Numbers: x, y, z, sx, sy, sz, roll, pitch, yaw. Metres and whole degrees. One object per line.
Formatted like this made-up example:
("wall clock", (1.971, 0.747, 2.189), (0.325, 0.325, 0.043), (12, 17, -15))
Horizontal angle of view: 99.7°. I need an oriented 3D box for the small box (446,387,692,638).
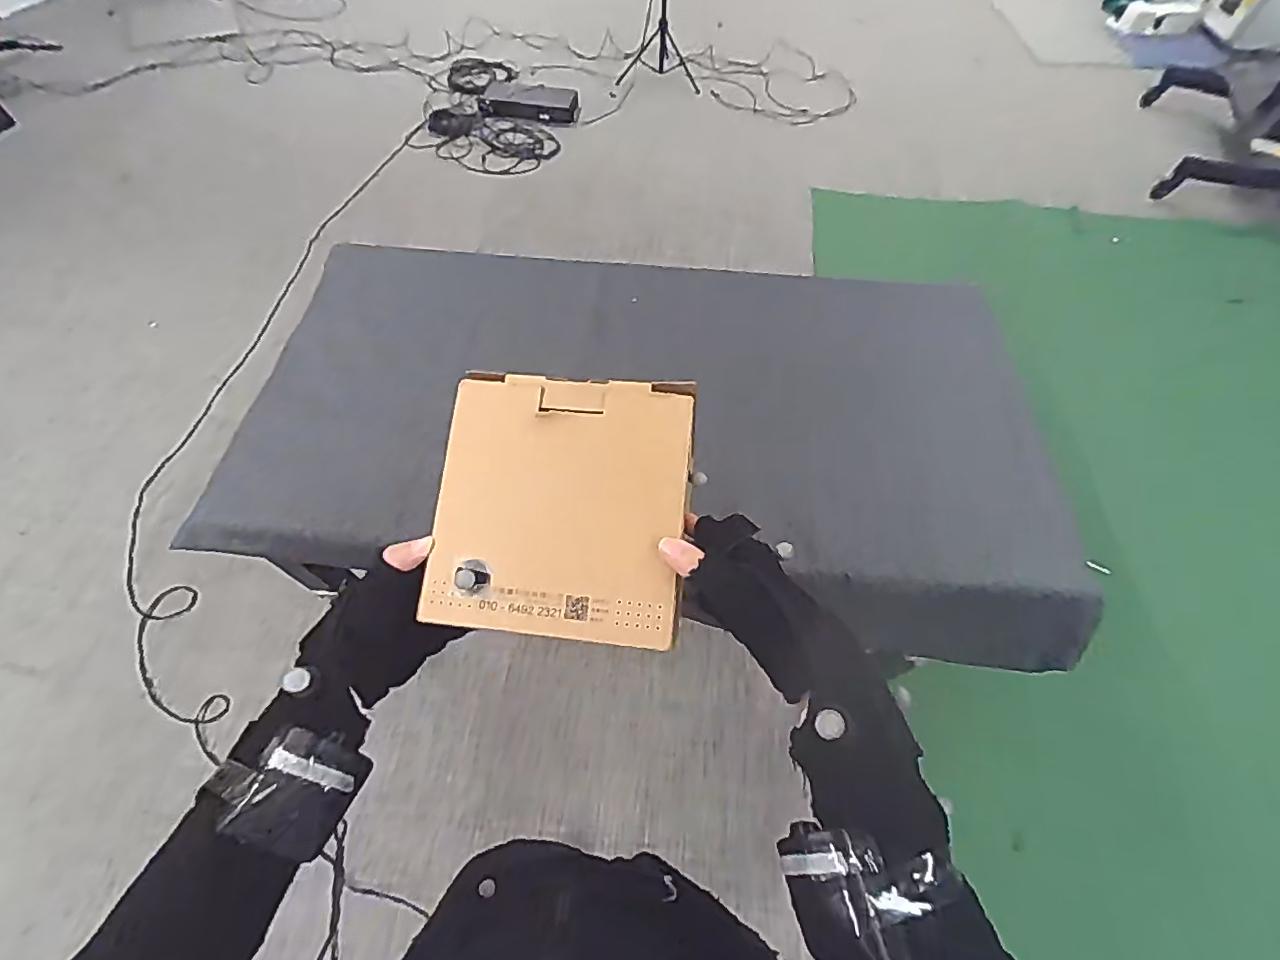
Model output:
("small box", (-0.046, 0.035, 0.453), (0.168, 0.179, 0.176), (6, 79, 7))
